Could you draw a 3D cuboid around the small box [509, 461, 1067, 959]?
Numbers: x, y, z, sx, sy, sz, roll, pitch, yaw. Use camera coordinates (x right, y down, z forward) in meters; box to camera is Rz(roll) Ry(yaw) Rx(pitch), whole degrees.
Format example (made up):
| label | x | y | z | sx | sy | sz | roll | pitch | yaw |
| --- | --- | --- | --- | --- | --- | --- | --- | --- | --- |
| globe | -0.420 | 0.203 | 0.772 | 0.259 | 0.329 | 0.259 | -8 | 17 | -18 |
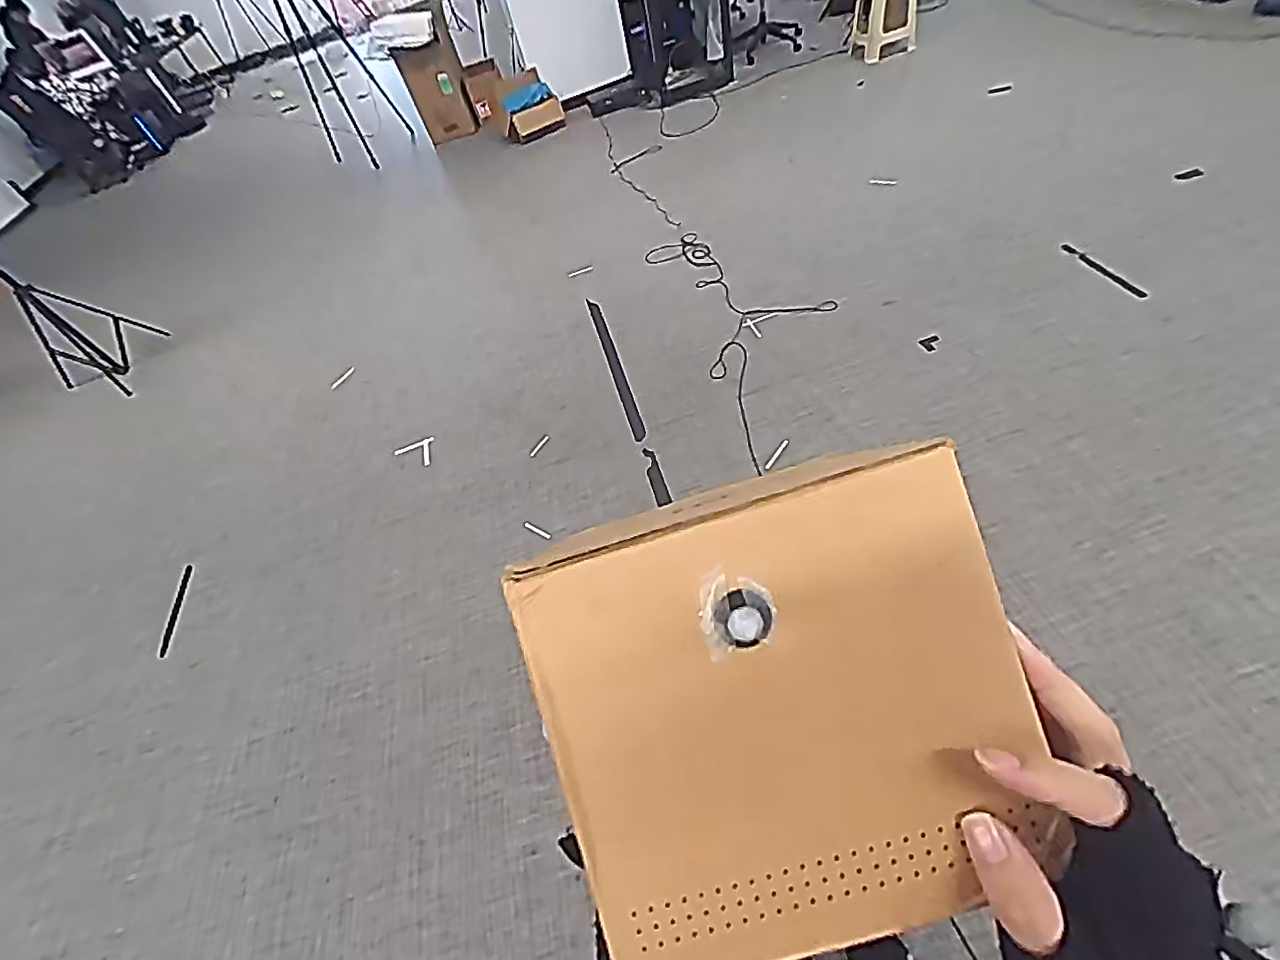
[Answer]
| label | x | y | z | sx | sy | sz | roll | pitch | yaw |
| --- | --- | --- | --- | --- | --- | --- | --- | --- | --- |
| small box | 0.060 | 0.099 | 0.278 | 0.179 | 0.168 | 0.176 | -17 | 88 | 3 |
